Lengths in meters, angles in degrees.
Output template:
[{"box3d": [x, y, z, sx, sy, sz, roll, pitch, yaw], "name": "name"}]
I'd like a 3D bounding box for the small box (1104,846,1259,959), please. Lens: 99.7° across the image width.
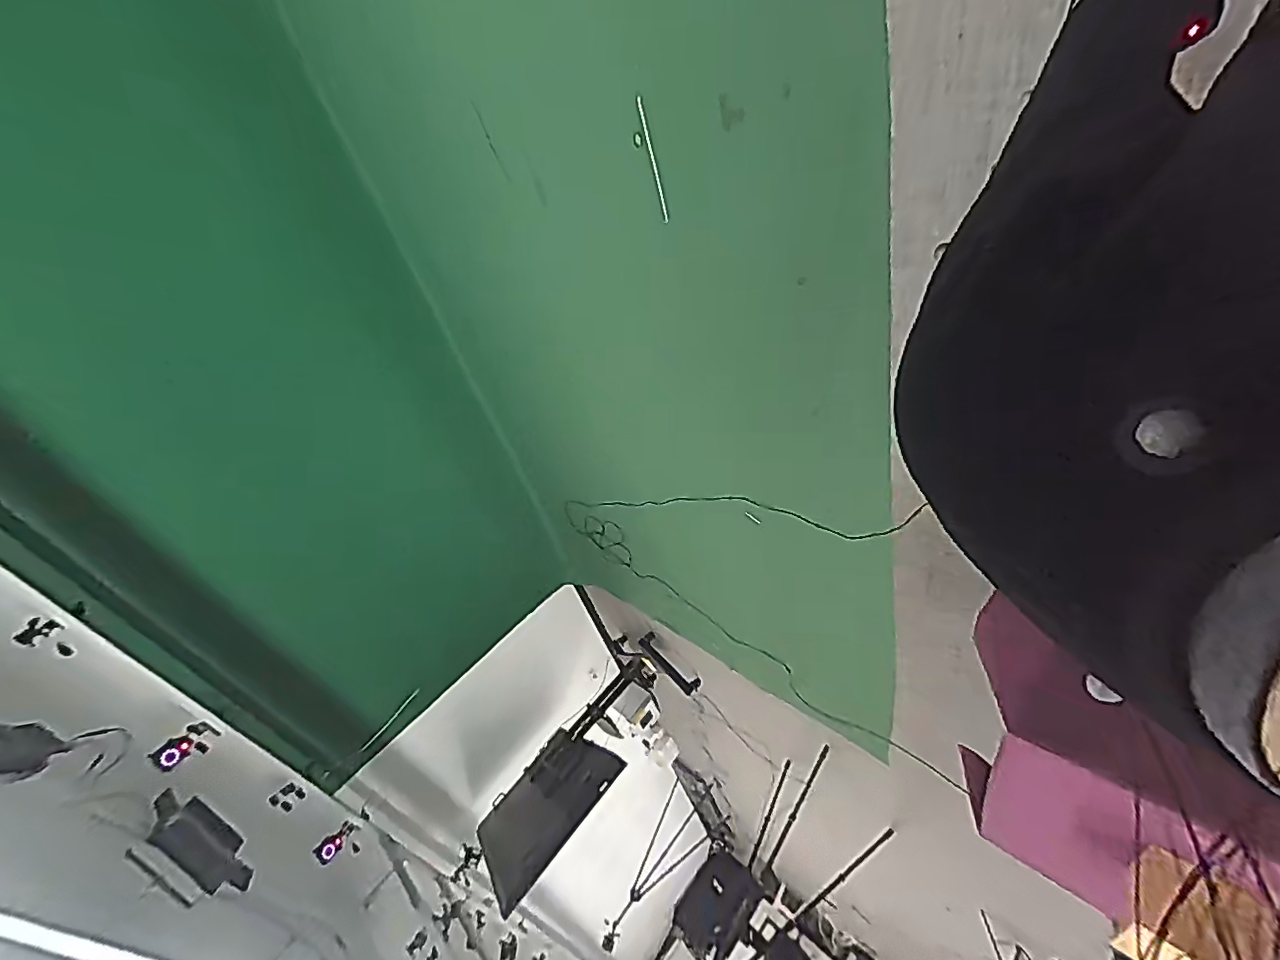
[{"box3d": [1.039, 0.855, 1.041, 0.168, 0.176, 0.179, 22, 143, 40], "name": "small box"}]
